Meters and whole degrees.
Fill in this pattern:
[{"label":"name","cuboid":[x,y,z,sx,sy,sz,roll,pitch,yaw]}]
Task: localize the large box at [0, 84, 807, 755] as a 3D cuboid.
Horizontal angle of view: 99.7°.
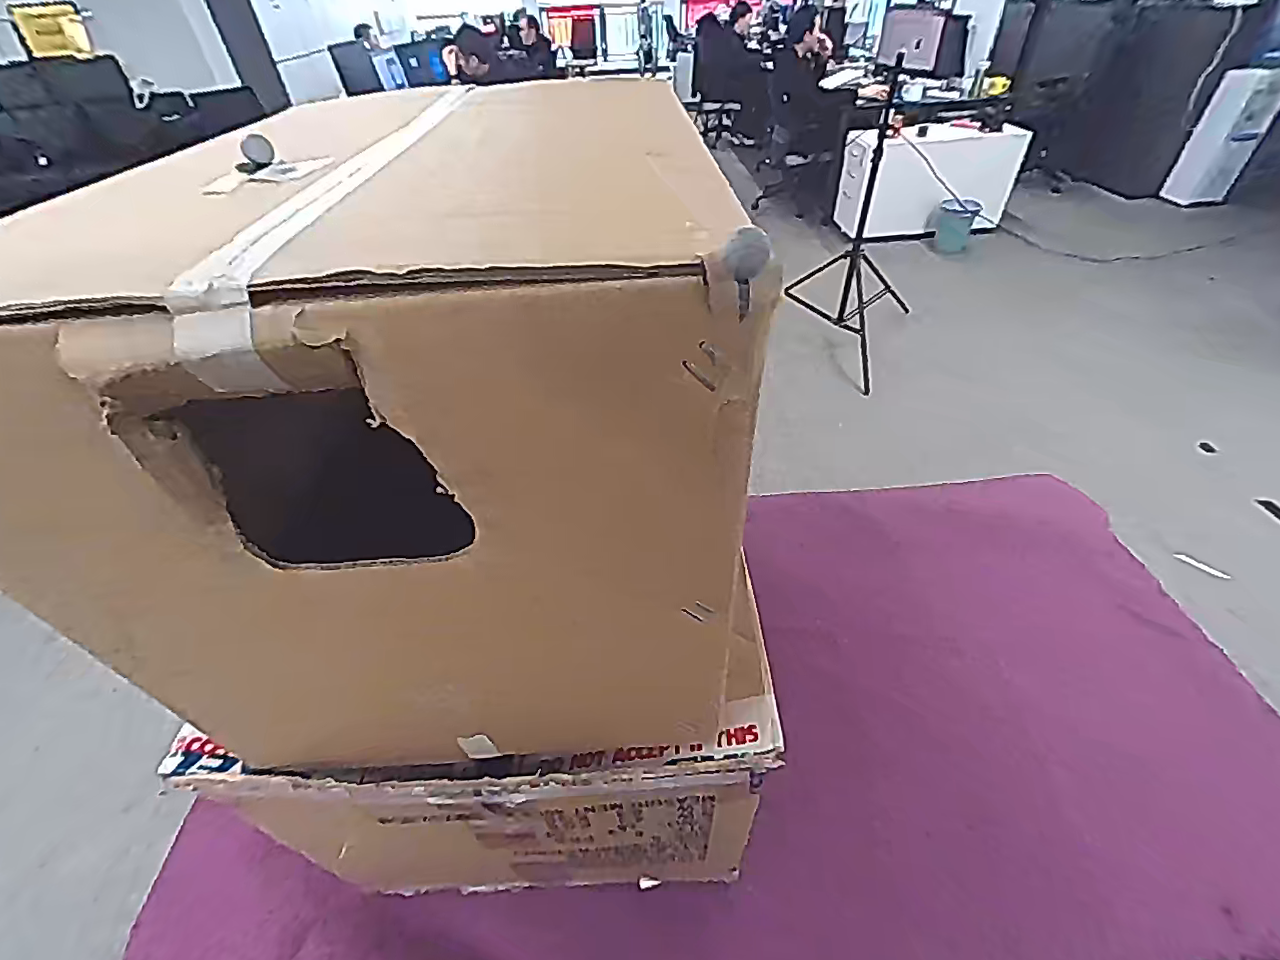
[{"label":"large box","cuboid":[-0.107,-0.070,0.402,0.320,0.320,0.408,-5,43,1]}]
